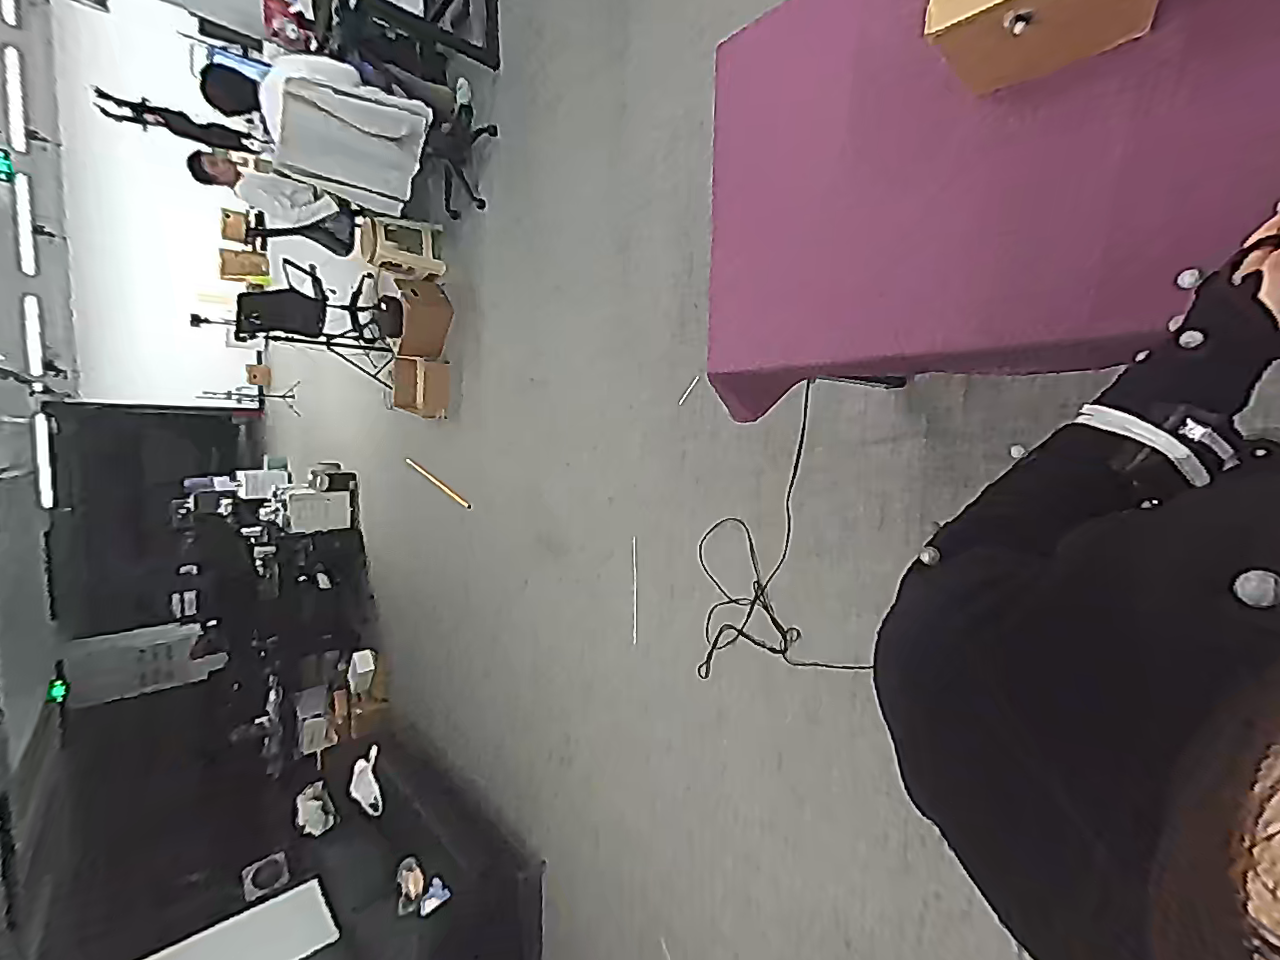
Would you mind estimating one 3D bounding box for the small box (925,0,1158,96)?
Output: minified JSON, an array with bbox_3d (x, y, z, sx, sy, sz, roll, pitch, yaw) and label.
[{"bbox_3d":[0.442,-0.562,0.586,0.179,0.176,0.168,12,102,47],"label":"small box"}]
